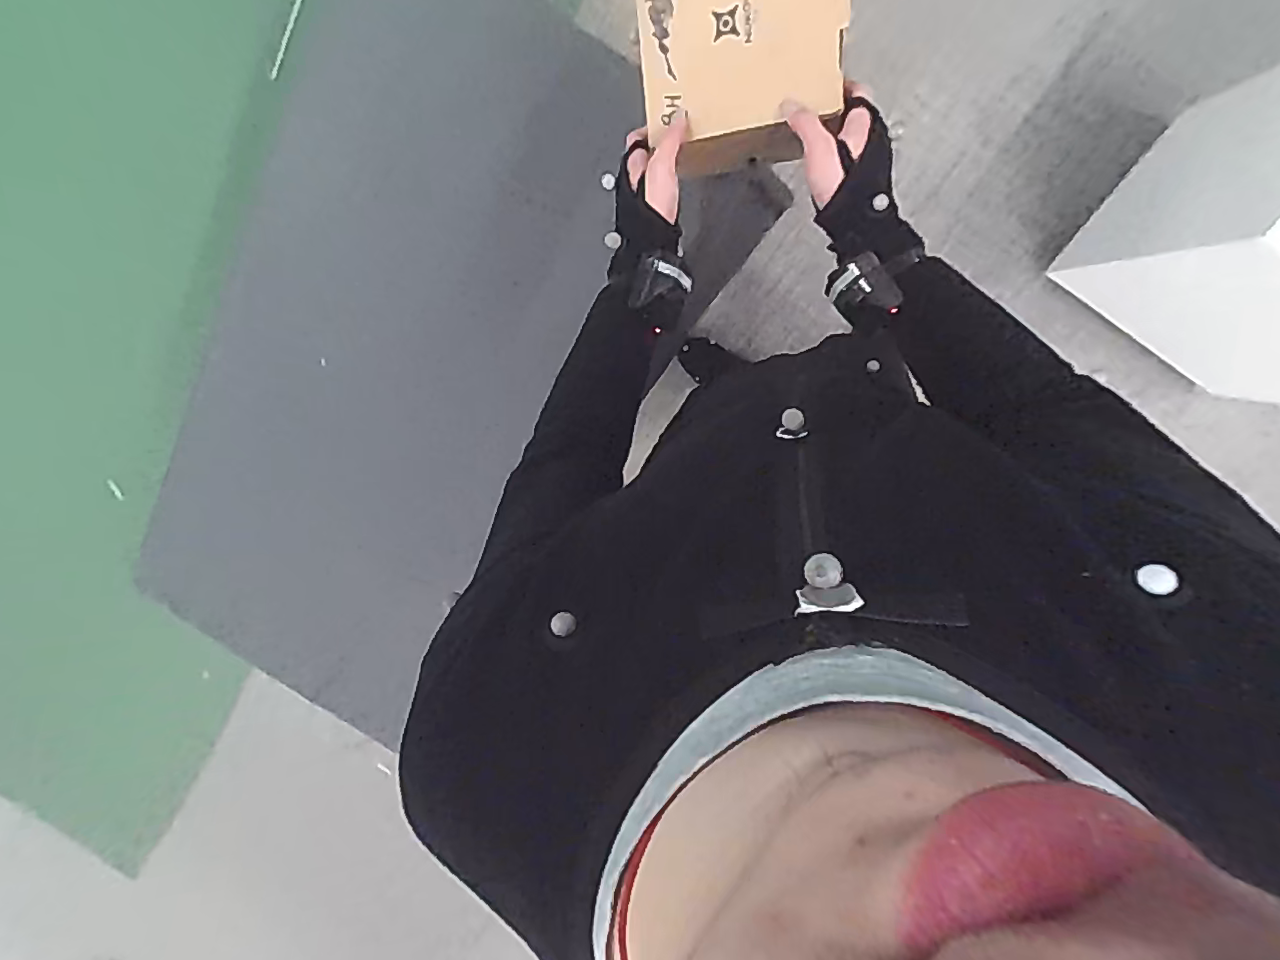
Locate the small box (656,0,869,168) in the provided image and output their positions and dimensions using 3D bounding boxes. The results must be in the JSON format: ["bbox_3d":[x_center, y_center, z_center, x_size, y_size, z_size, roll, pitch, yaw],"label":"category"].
[{"bbox_3d":[0.117,-0.418,0.525,0.179,0.176,0.168,0,110,14],"label":"small box"}]
